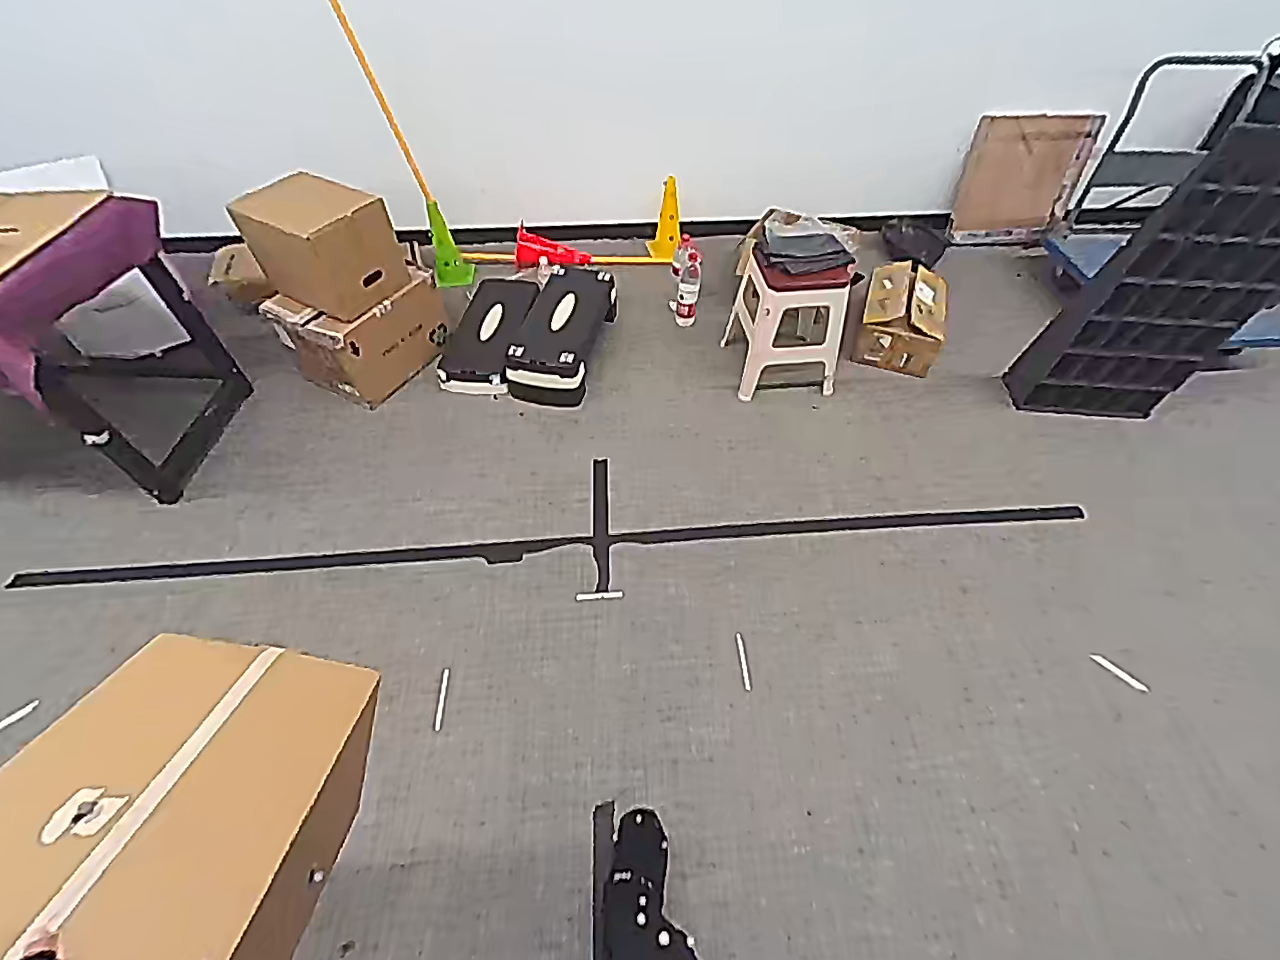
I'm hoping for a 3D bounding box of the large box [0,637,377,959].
[{"bbox_3d":[-0.587,0.478,0.695,0.320,0.320,0.408,15,21,-10],"label":"large box"}]
